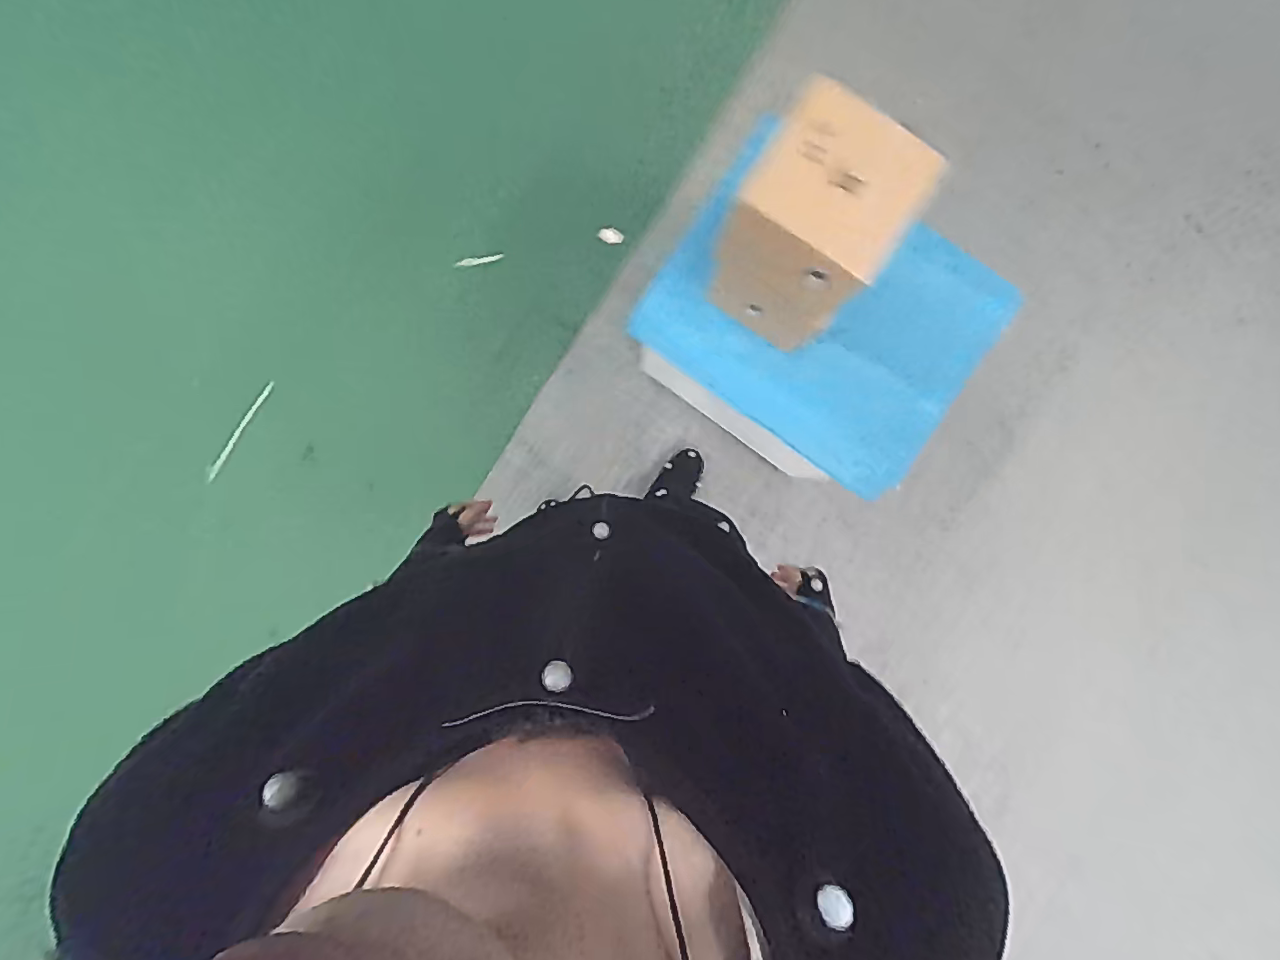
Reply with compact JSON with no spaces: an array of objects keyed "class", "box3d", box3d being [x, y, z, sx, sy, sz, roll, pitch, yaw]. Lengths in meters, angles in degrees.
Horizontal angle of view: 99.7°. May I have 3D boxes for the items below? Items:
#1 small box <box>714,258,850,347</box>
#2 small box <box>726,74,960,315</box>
[{"class":"small box","box3d":[0.236,-0.323,0.828,0.179,0.176,0.168,35,90,-1]},{"class":"small box","box3d":[0.231,-0.325,0.663,0.179,0.176,0.168,35,89,-1]}]
